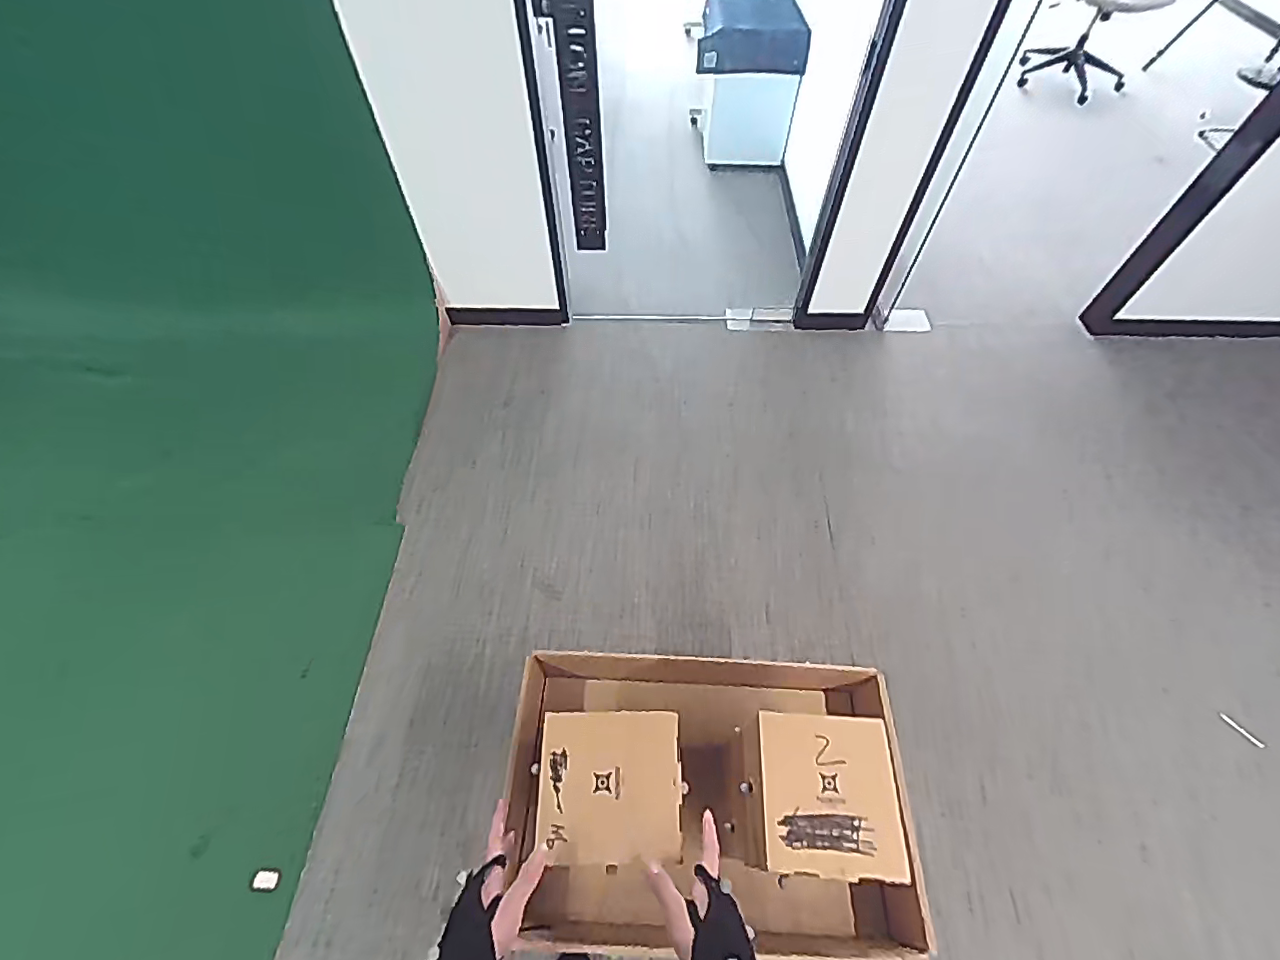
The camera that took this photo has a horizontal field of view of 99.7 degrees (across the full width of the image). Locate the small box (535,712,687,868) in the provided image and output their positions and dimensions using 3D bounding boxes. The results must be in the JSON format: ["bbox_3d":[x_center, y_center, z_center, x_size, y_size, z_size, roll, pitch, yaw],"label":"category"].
[{"bbox_3d":[-0.035,0.415,0.727,0.179,0.176,0.168,0,57,-1],"label":"small box"}]
